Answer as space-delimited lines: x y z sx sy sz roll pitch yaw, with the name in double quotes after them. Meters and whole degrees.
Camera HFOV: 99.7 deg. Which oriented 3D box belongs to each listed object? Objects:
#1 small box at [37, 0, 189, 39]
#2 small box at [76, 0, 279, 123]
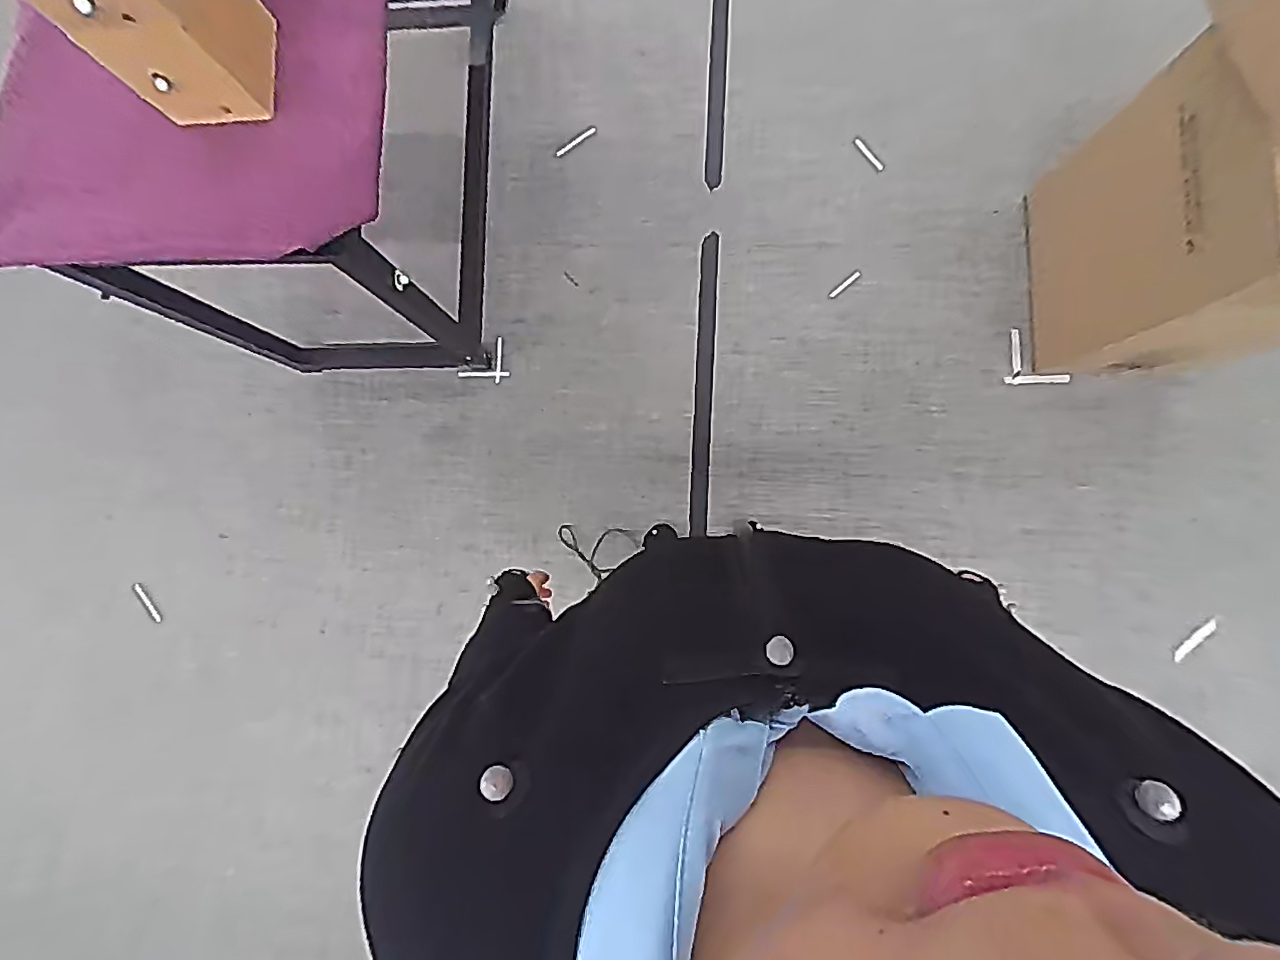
-0.687 -0.688 0.652 0.168 0.176 0.179 -2 85 4 "small box"
-0.682 -0.673 0.815 0.168 0.176 0.179 -2 85 3 "small box"
